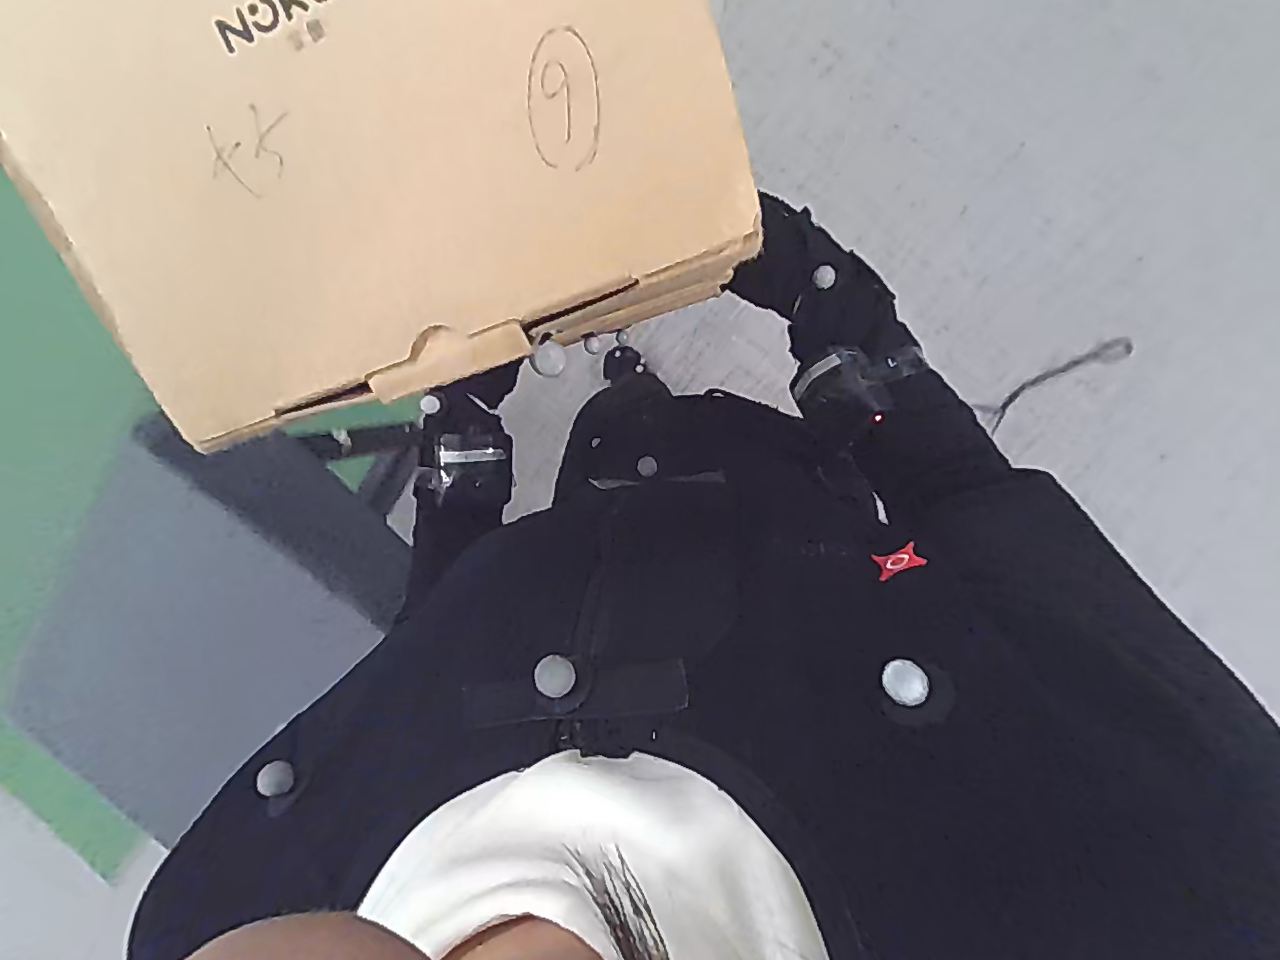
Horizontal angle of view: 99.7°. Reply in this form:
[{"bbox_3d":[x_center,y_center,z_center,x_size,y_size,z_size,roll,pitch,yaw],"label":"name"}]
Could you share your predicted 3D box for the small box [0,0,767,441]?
[{"bbox_3d":[-0.061,-0.136,0.191,0.168,0.176,0.179,-15,108,11],"label":"small box"}]
